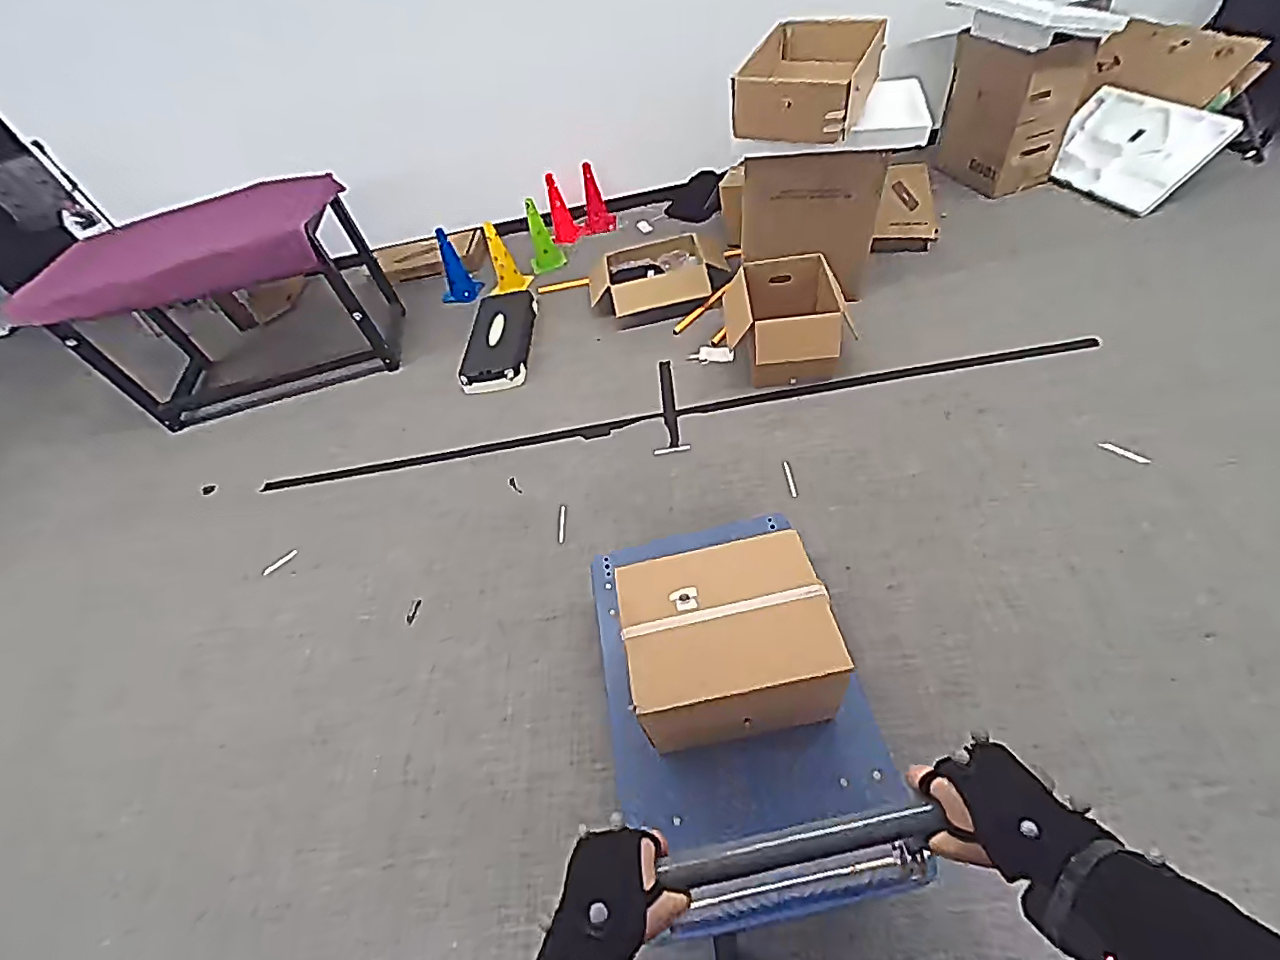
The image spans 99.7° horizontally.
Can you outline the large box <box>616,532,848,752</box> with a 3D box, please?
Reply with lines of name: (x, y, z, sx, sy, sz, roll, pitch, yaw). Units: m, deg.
large box: (0.191, 0.366, 1.197, 0.408, 0.320, 0.320, -14, 48, 2)
